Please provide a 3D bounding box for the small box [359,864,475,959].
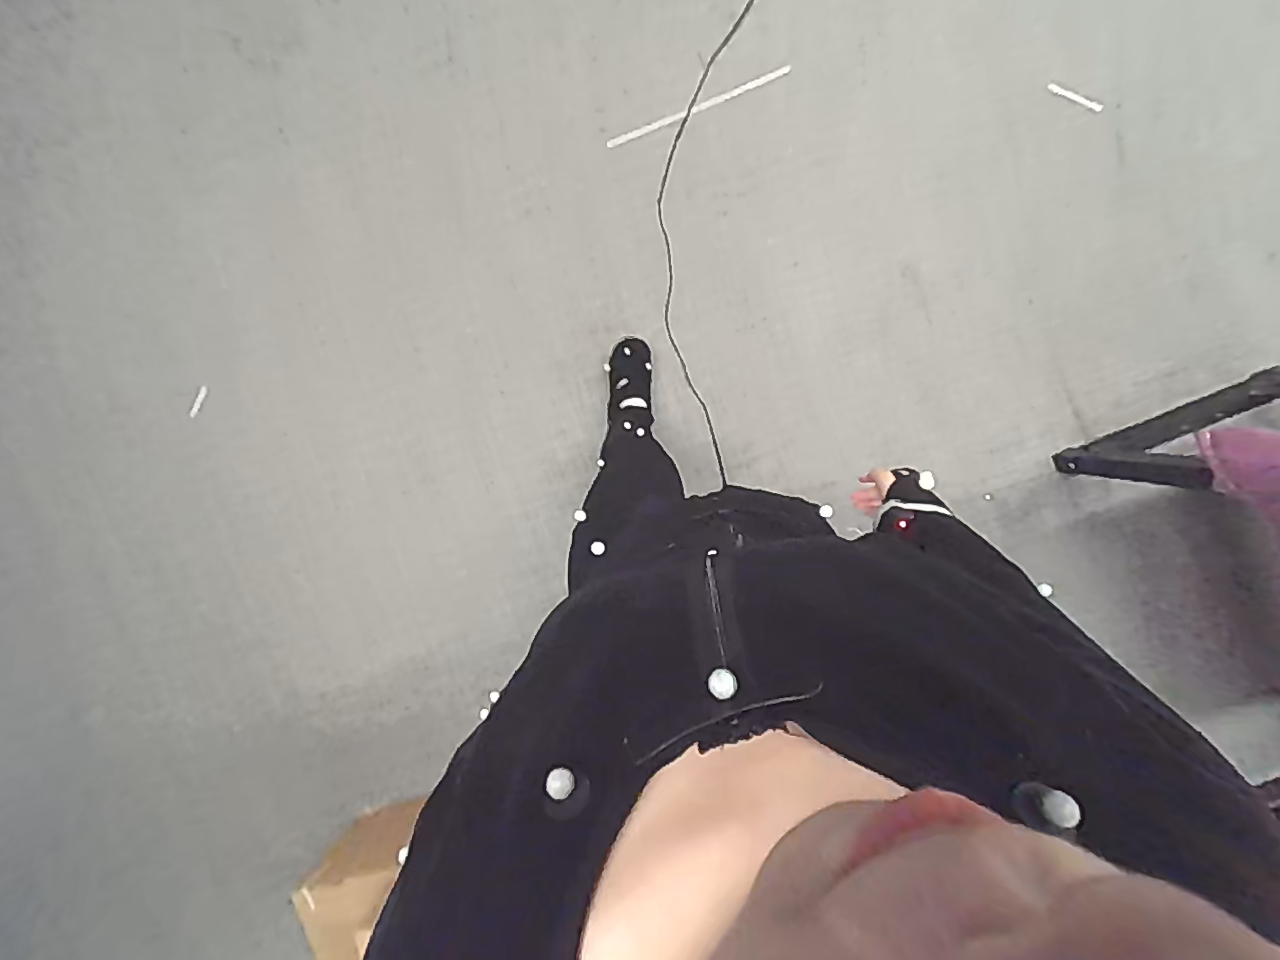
[{"bbox_3d":[-0.490,1.009,1.222,0.179,0.176,0.168,-12,94,6],"label":"small box"}]
